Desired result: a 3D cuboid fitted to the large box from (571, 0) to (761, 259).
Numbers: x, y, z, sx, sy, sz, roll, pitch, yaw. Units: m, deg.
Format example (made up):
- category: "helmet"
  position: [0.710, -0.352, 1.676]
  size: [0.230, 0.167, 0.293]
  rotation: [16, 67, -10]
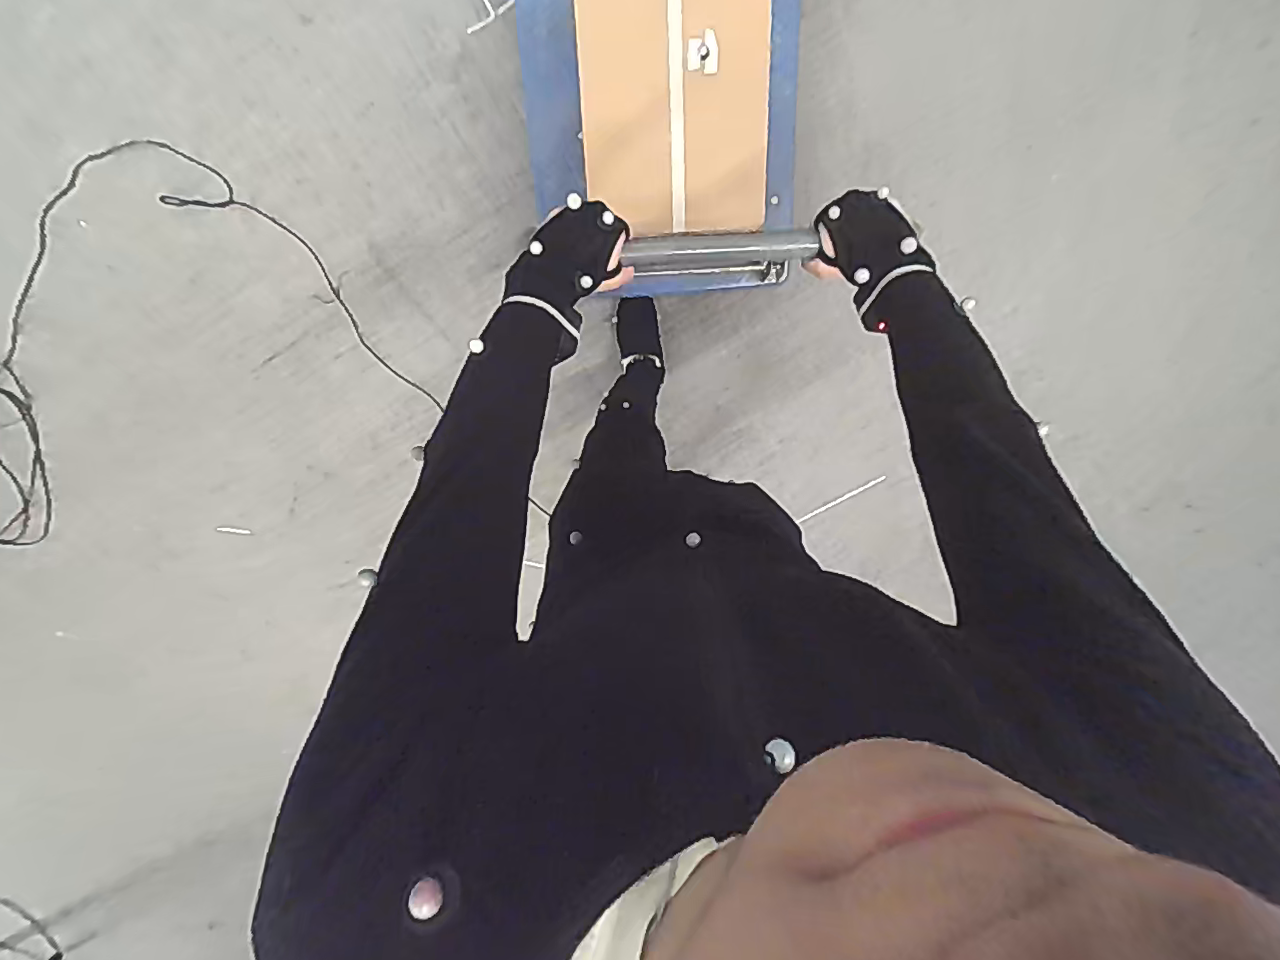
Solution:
- category: "large box"
  position: [0.048, -0.670, 1.063]
  size: [0.320, 0.320, 0.408]
  rotation: [-3, 108, -1]
